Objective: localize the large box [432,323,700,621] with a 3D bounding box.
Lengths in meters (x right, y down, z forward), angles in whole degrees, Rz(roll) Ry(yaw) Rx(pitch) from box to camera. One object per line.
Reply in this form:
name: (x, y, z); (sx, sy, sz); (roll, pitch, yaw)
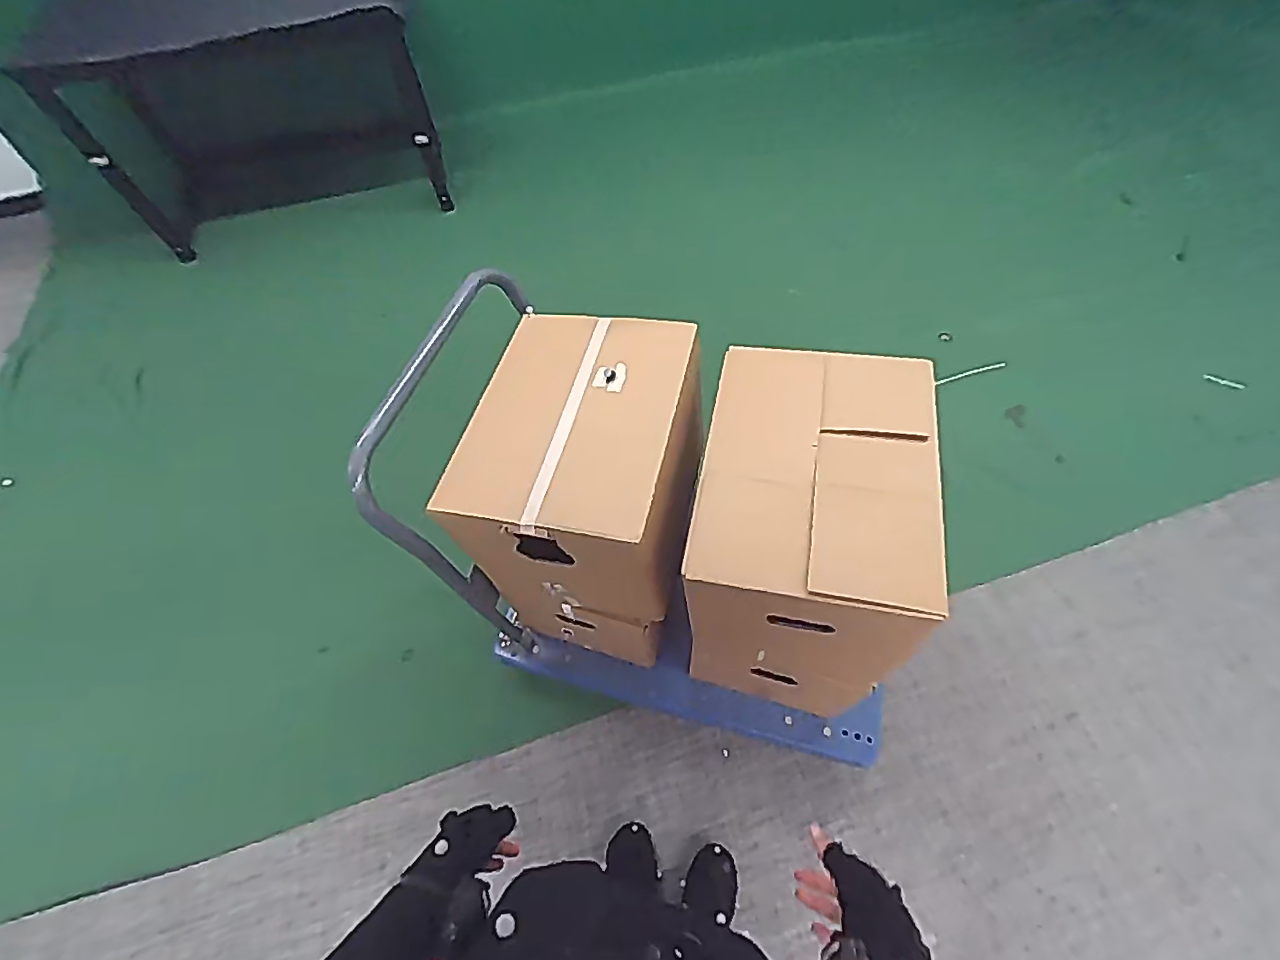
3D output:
large box: (-0.084, -0.014, 0.943); (0.320, 0.320, 0.408); (8, 58, 14)
